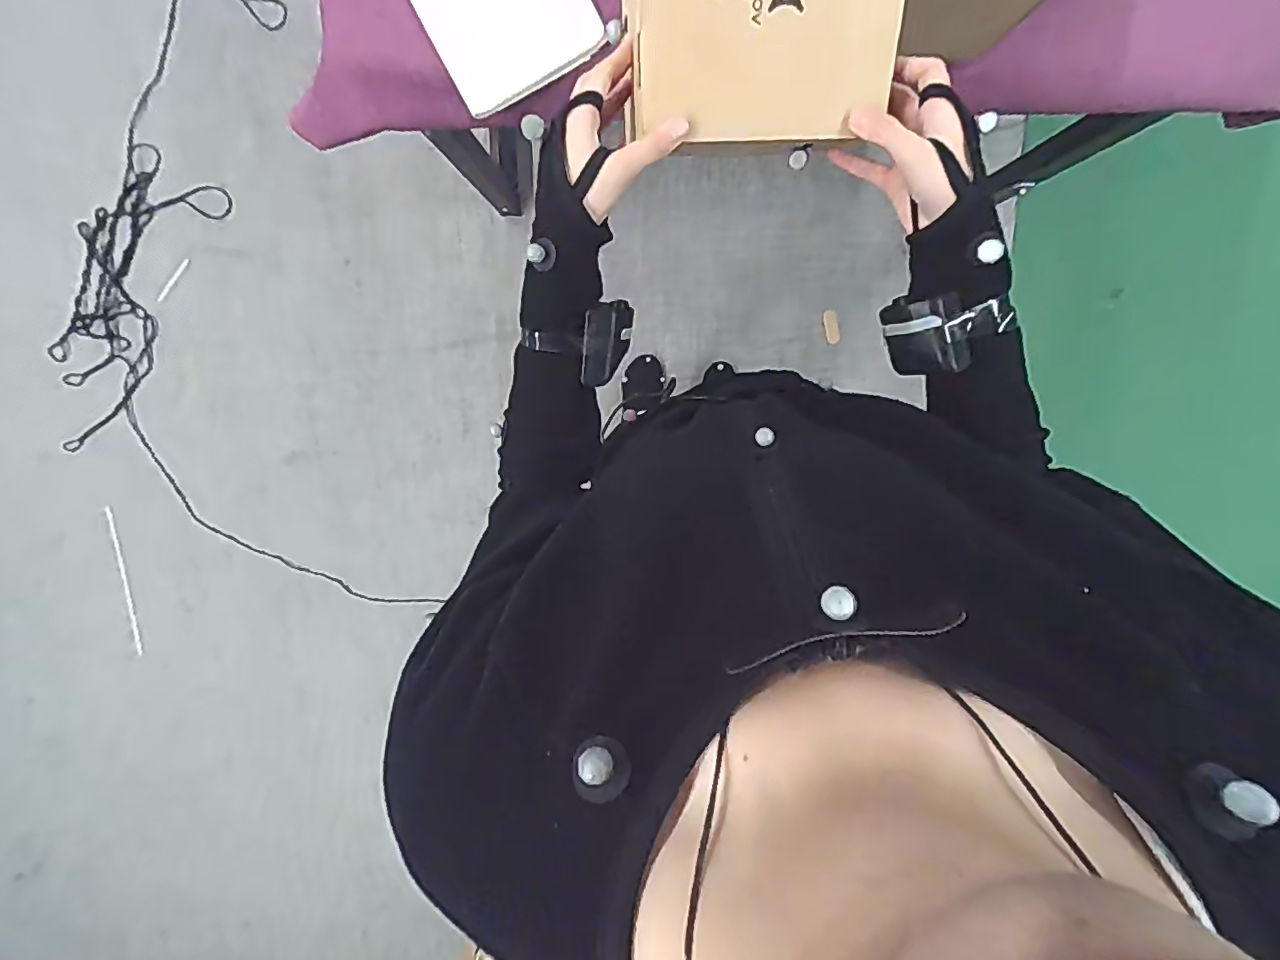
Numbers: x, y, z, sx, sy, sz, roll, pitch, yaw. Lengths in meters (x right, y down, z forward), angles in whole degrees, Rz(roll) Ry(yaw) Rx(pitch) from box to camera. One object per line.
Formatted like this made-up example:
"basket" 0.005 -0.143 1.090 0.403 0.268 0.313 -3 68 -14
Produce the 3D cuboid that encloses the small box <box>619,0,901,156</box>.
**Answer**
"small box" 0.076 -0.347 0.407 0.179 0.176 0.168 -3 118 -3
